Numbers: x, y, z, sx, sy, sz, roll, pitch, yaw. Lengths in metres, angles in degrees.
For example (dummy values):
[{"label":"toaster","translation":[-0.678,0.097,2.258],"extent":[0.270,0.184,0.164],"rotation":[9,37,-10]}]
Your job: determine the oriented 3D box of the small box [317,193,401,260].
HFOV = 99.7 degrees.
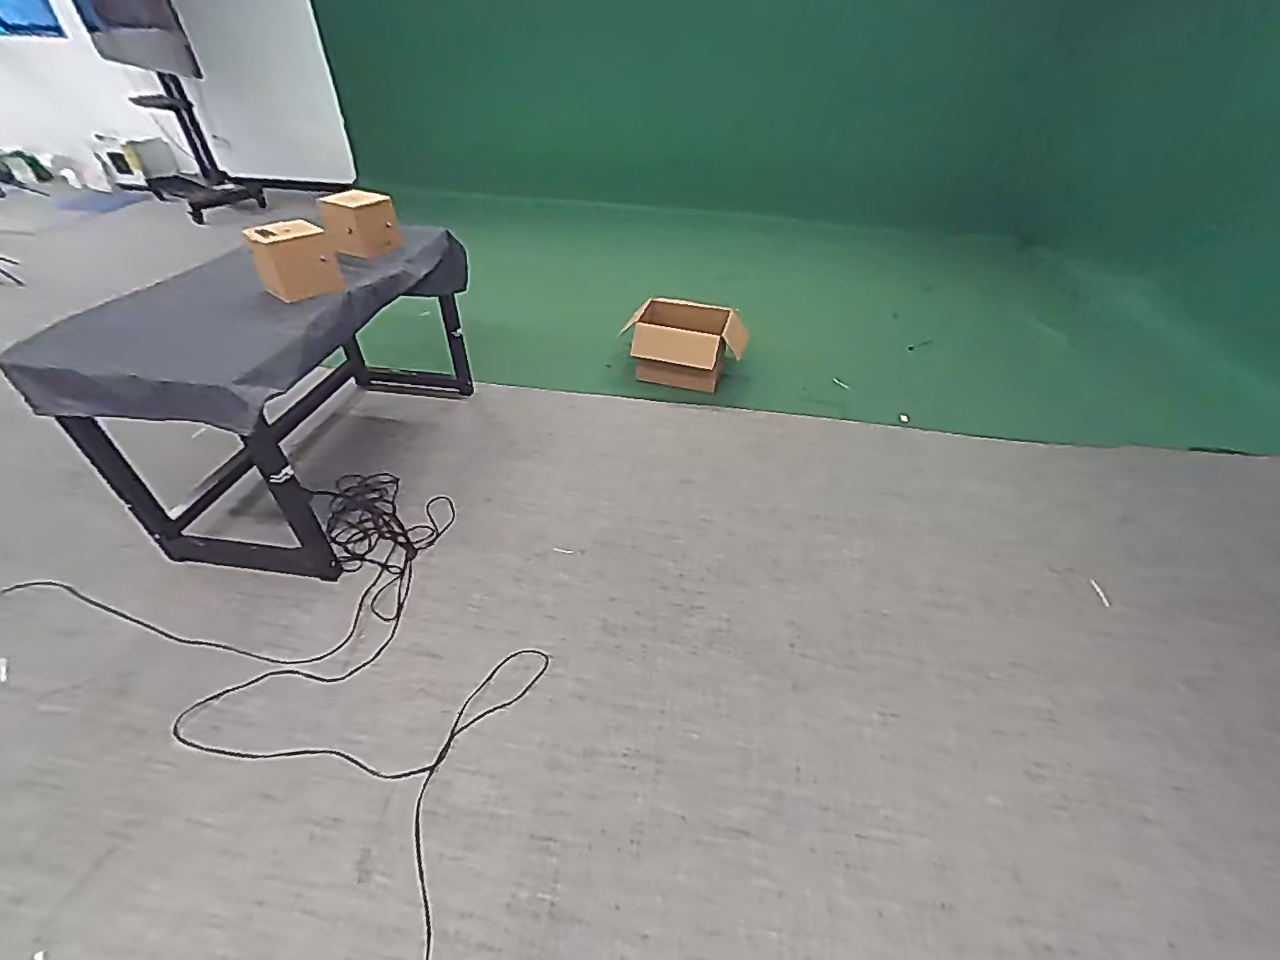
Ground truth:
[{"label":"small box","translation":[-0.971,-0.883,1.887],"extent":[0.179,0.176,0.168],"rotation":[18,42,20]}]
